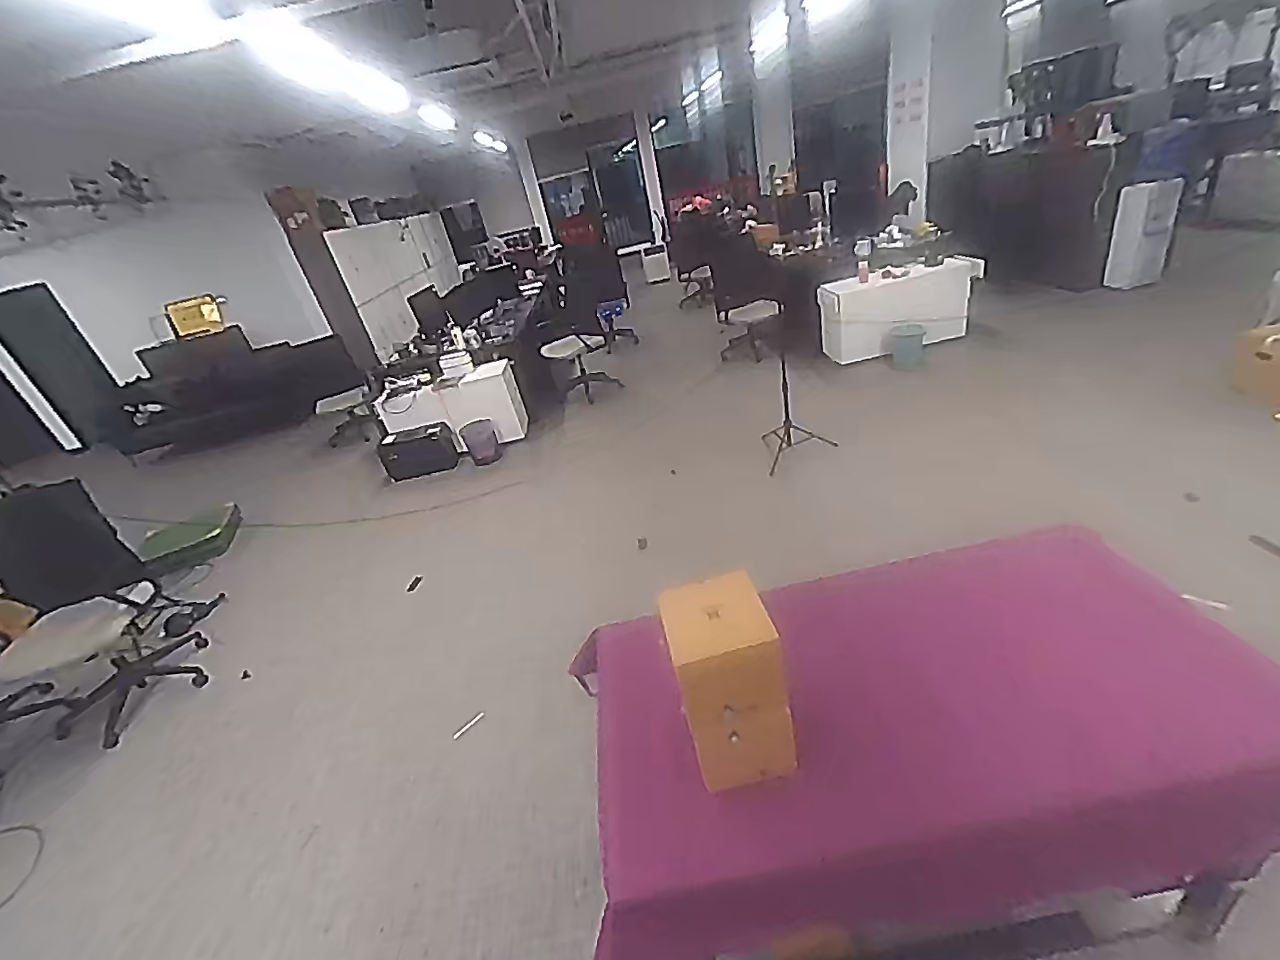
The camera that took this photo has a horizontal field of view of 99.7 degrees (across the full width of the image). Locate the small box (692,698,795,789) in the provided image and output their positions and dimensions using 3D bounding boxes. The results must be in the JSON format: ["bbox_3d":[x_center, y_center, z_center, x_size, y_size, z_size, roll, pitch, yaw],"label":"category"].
[{"bbox_3d":[0.176,0.426,0.996,0.168,0.176,0.179,-14,28,0],"label":"small box"}]

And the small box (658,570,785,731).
[{"bbox_3d":[0.136,0.286,0.919,0.168,0.176,0.179,-15,29,-1],"label":"small box"}]
